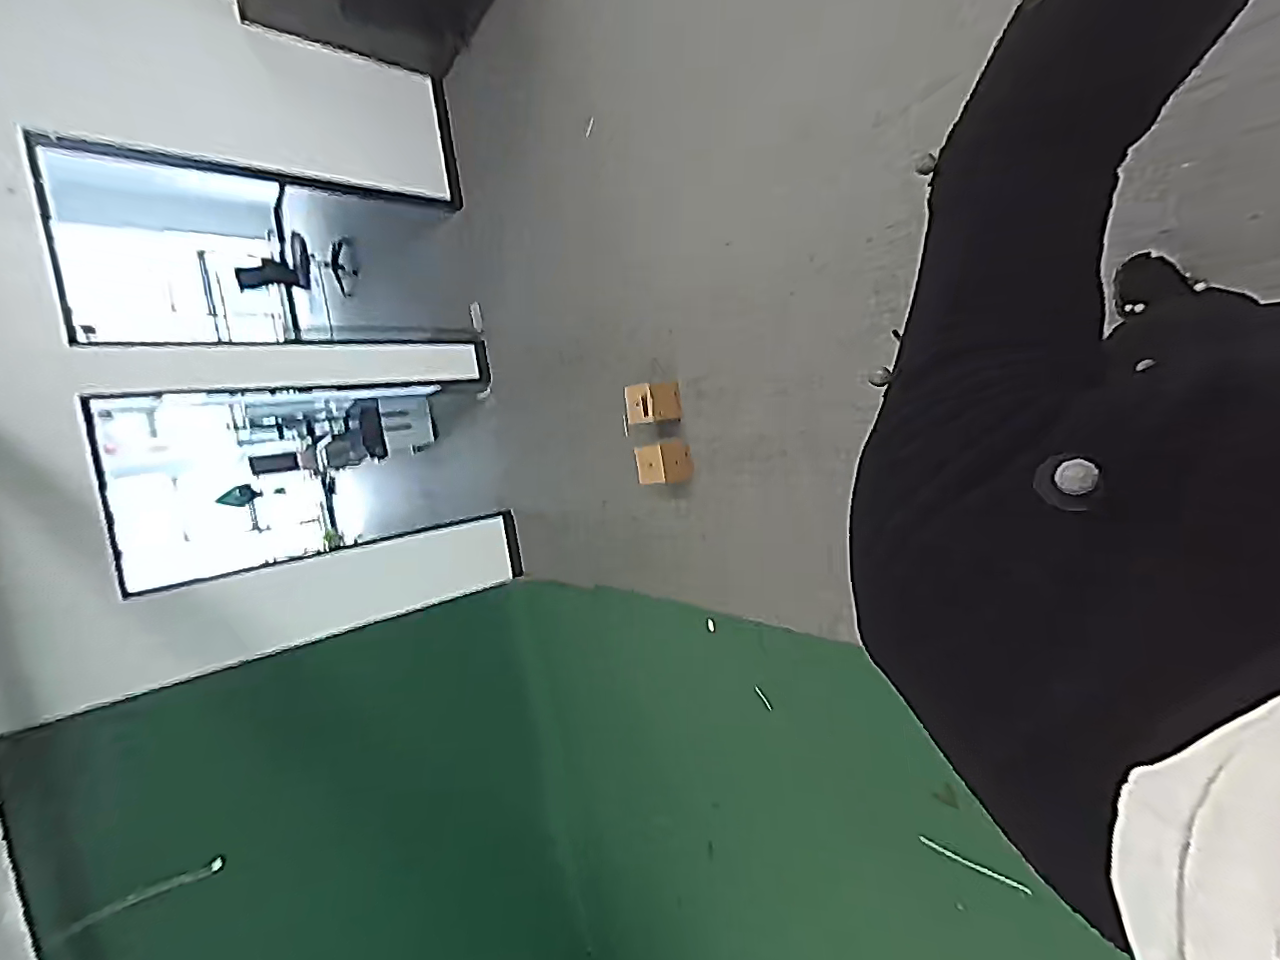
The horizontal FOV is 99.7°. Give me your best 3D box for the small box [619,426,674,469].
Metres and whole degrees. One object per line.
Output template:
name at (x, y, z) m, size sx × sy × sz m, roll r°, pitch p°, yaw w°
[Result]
small box at (0.036, -0.144, 2.393) m, size 0.179 × 0.176 × 0.168 m, roll -1°, pitch 98°, yaw 50°
